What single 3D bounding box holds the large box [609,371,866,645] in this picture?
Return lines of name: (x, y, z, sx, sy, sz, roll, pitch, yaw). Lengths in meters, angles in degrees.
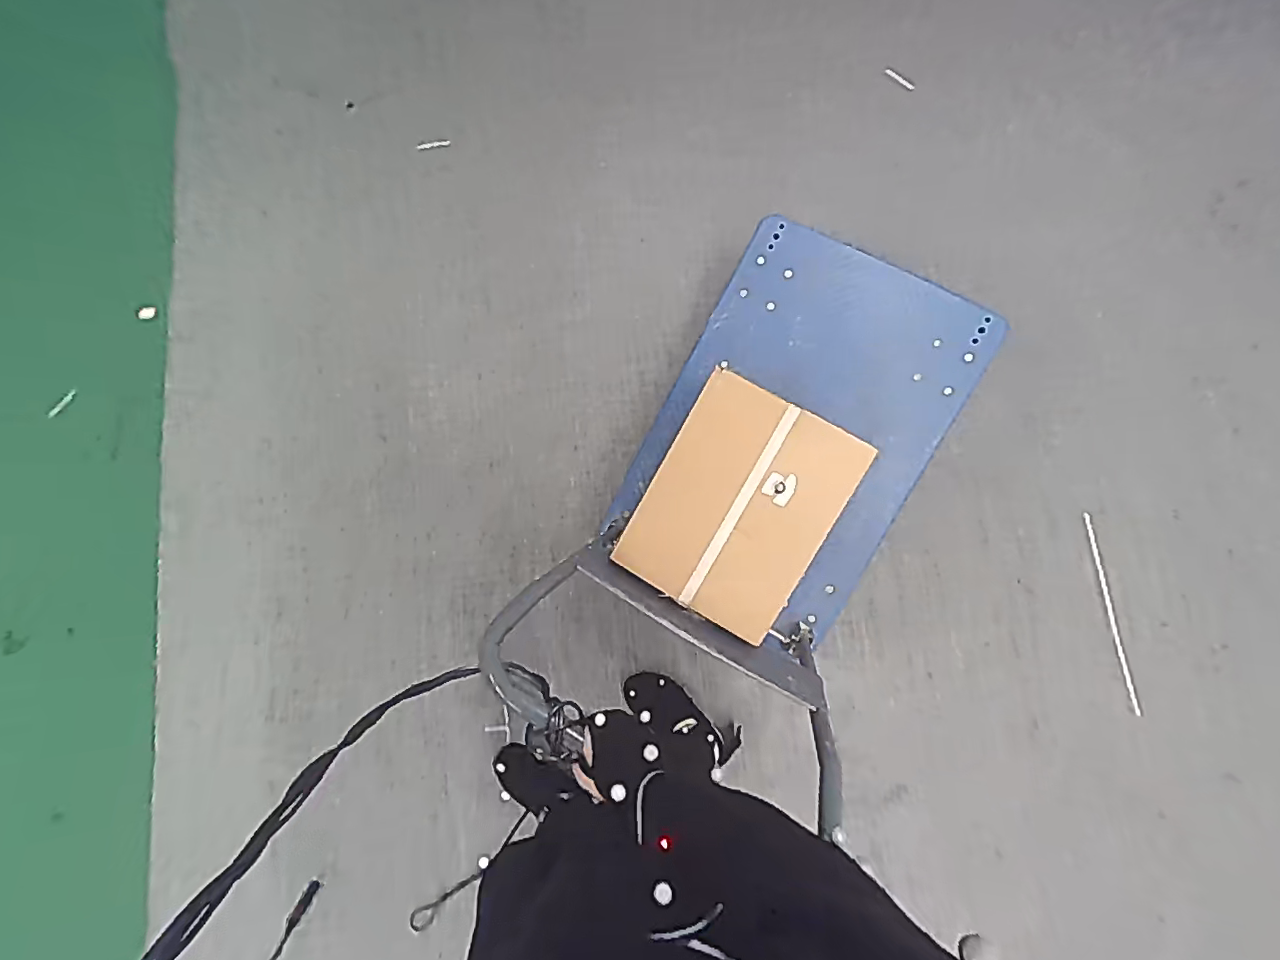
large box: (0.191, 0.049, 1.107, 0.320, 0.320, 0.408, 31, 97, 8)
